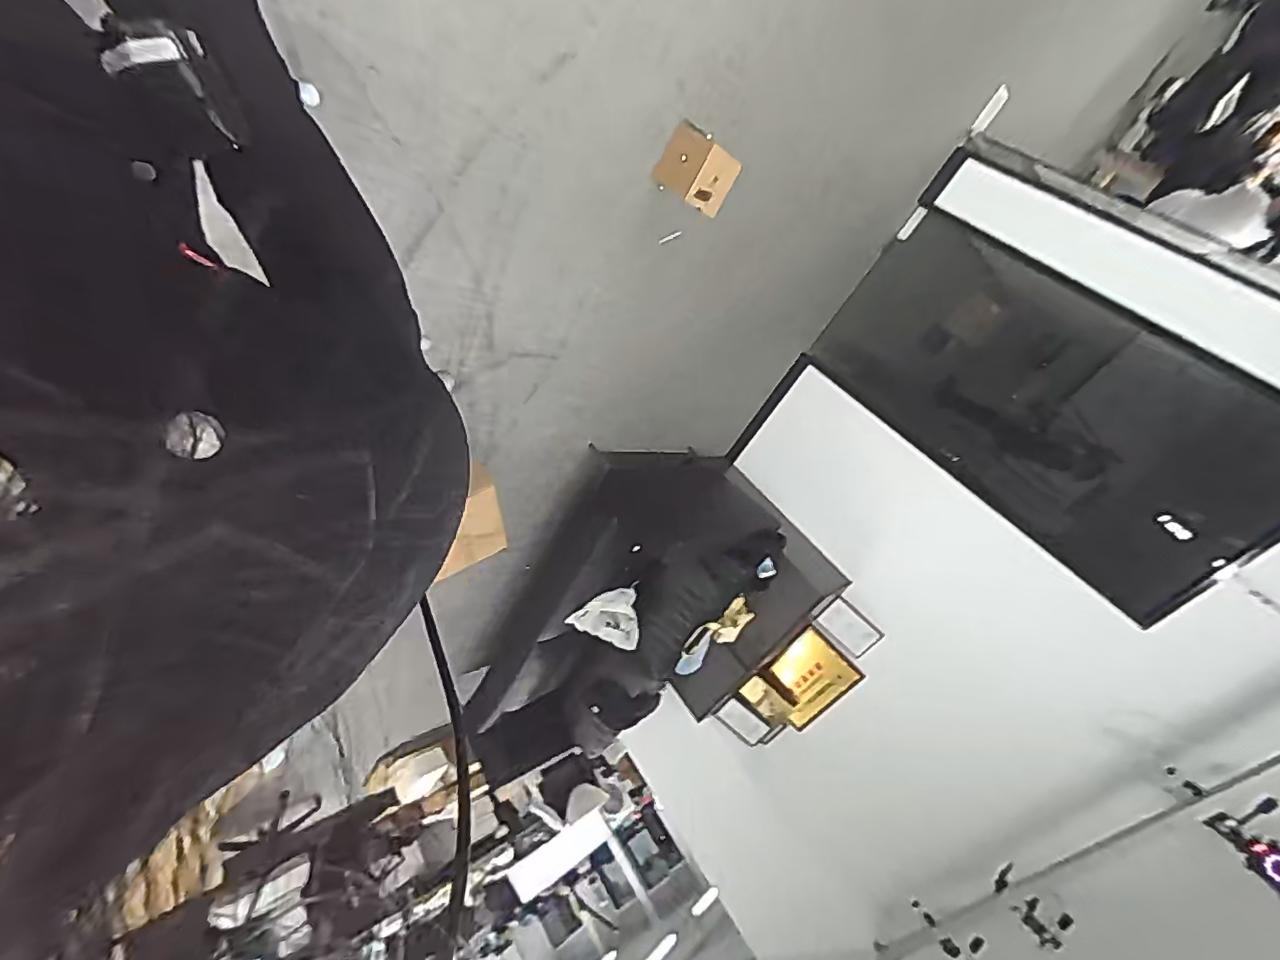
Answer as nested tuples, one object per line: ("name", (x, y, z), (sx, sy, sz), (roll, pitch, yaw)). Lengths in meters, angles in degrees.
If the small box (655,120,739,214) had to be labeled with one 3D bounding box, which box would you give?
("small box", (0.174, -0.993, 1.719), (0.168, 0.176, 0.179), (-2, 134, -50))
